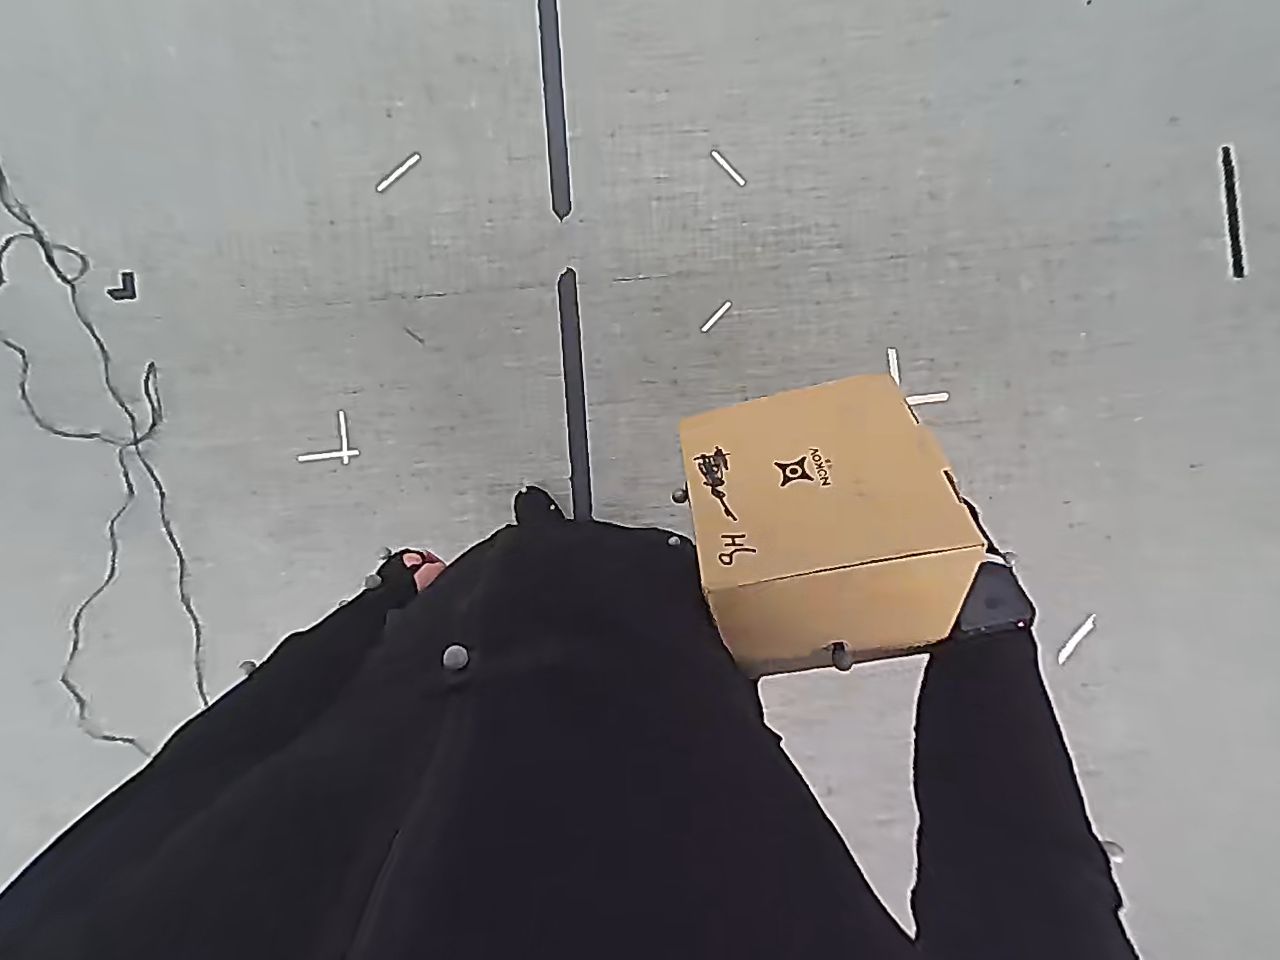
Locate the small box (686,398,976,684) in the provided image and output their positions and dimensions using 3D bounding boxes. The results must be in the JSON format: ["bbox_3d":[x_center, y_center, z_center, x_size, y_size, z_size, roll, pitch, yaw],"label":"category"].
[{"bbox_3d":[0.145,0.059,0.466,0.179,0.176,0.168,-11,48,8],"label":"small box"}]
